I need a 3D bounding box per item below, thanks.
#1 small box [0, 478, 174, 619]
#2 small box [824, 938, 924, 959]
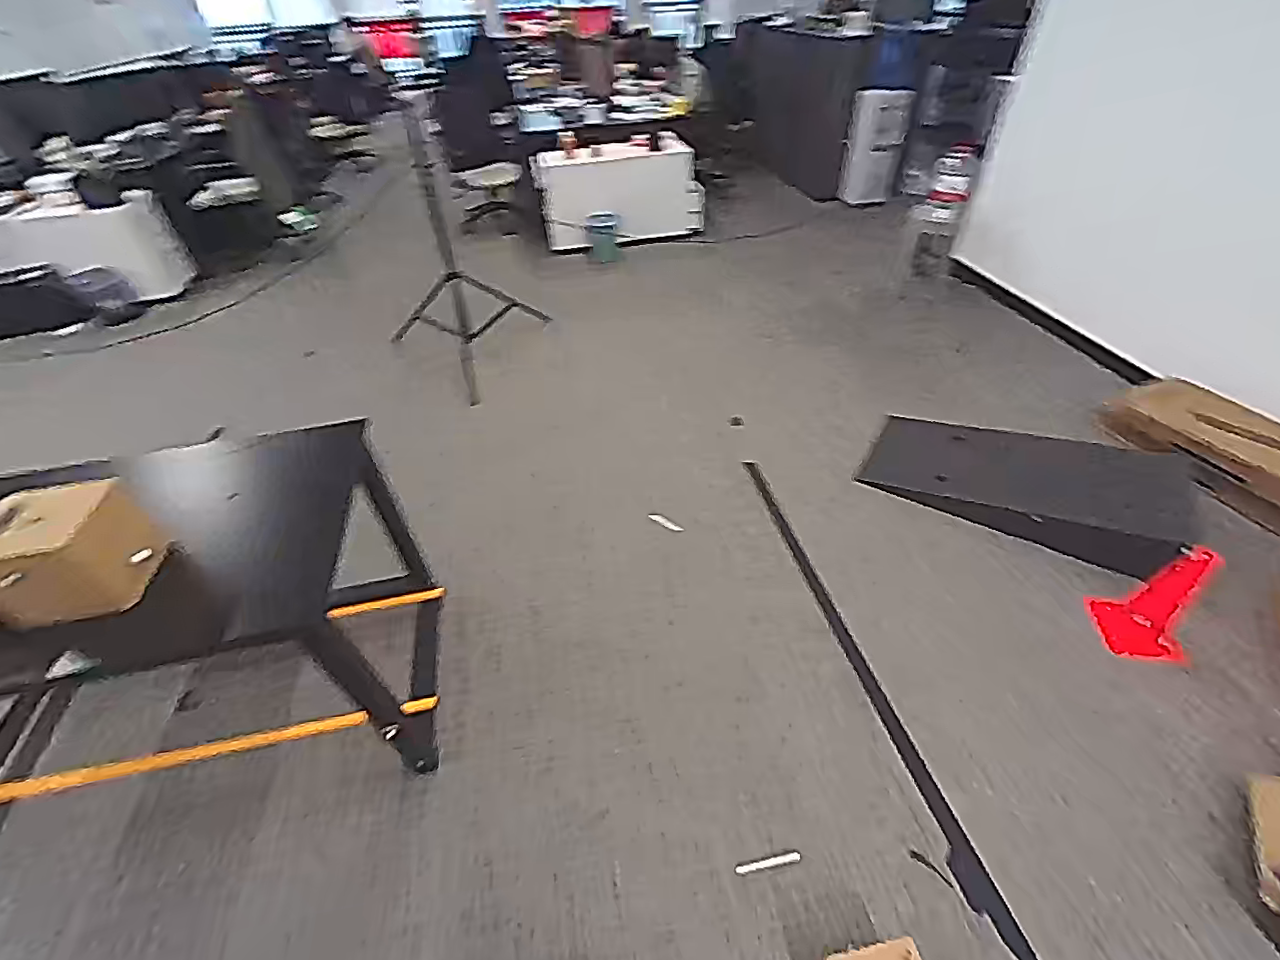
[{"bbox_3d":[-0.991,0.122,0.950,0.179,0.176,0.168,-9,43,-7],"label":"small box"},{"bbox_3d":[0.447,0.981,0.998,0.179,0.176,0.168,-9,43,-5],"label":"small box"}]
